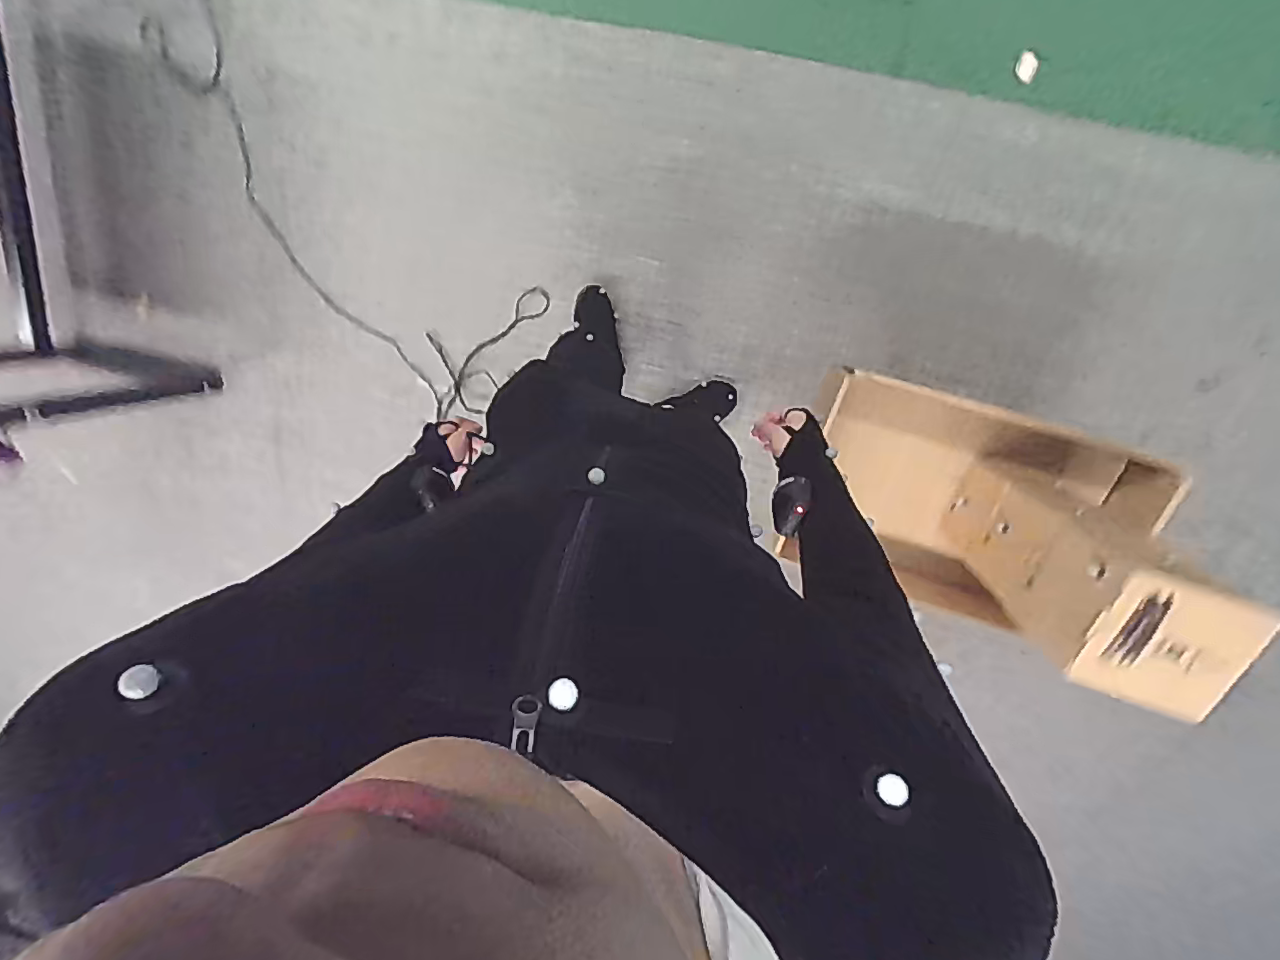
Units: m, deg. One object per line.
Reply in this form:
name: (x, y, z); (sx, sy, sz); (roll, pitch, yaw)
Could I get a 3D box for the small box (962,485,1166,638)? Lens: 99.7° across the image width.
small box: (0.683, 0.125, 0.899); (0.179, 0.176, 0.168); (18, 110, 5)

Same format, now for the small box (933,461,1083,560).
small box: (0.713, 0.077, 1.051); (0.179, 0.176, 0.168); (19, 109, 4)
